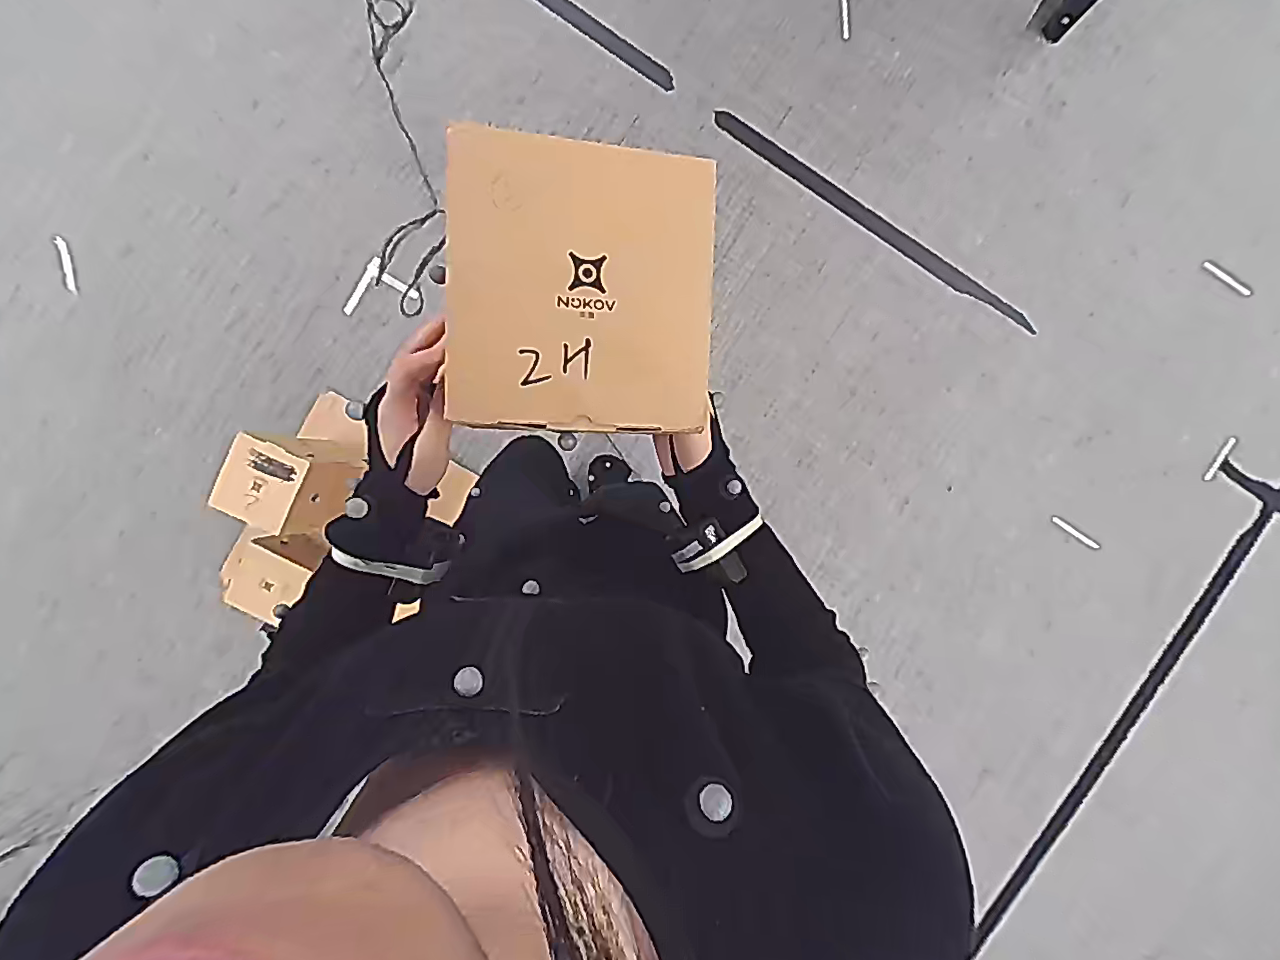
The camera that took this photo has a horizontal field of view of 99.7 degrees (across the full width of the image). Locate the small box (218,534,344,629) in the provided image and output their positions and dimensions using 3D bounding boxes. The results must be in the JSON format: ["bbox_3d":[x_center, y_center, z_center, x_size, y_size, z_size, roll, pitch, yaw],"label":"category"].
[{"bbox_3d":[-0.907,0.249,1.383,0.179,0.176,0.168,26,93,-2],"label":"small box"}]

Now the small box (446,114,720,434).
[{"bbox_3d":[-0.048,-0.126,0.406,0.168,0.176,0.179,1,94,-12],"label":"small box"}]

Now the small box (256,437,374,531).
[{"bbox_3d":[-0.812,0.007,1.375,0.168,0.176,0.179,27,91,-2],"label":"small box"}]
